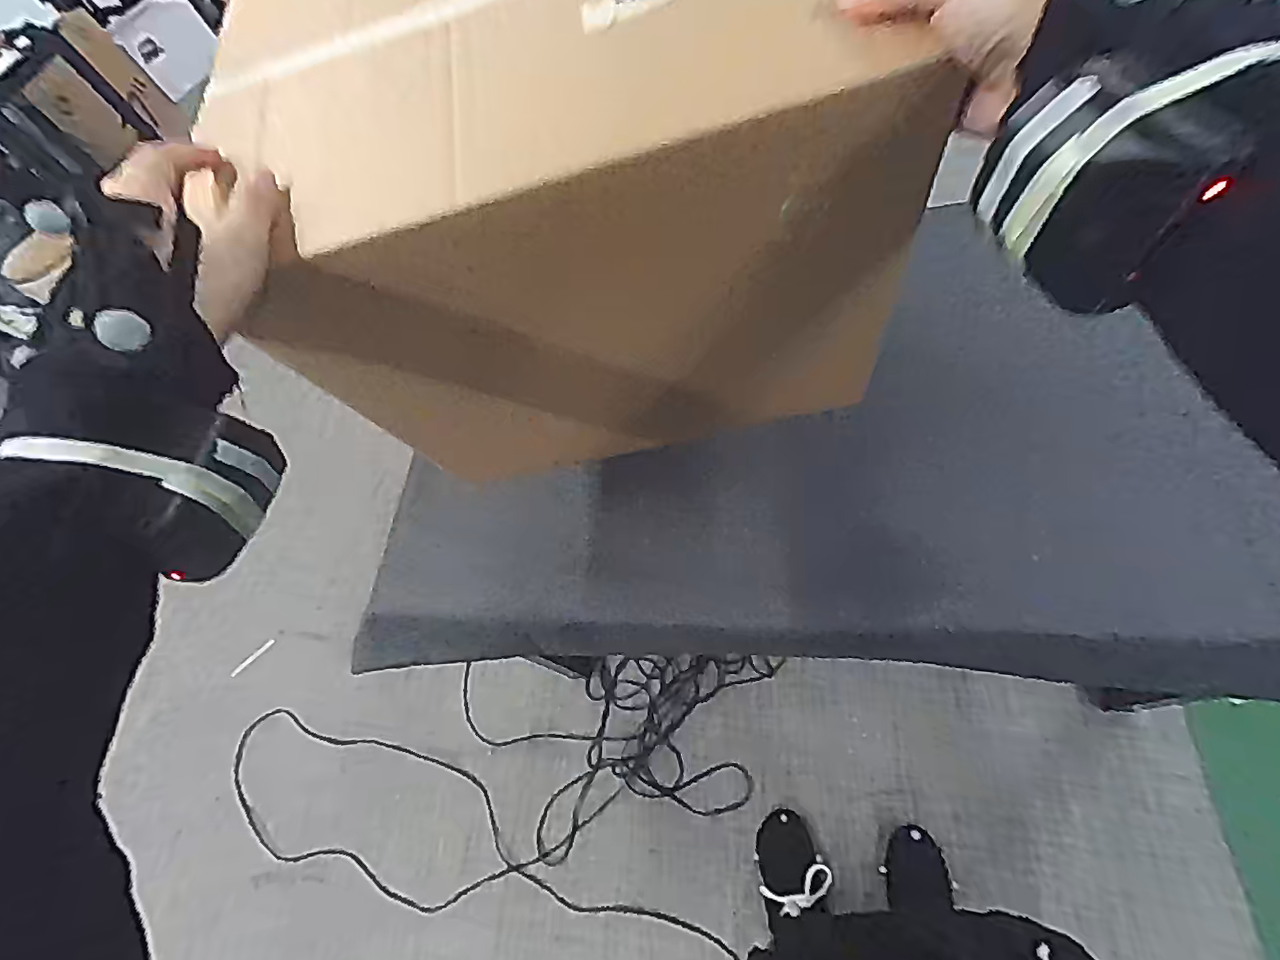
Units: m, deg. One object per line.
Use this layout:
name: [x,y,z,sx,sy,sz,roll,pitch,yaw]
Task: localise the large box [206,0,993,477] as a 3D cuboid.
large box: [-0.030,-0.231,0.451,0.408,0.320,0.320,-12,68,7]
